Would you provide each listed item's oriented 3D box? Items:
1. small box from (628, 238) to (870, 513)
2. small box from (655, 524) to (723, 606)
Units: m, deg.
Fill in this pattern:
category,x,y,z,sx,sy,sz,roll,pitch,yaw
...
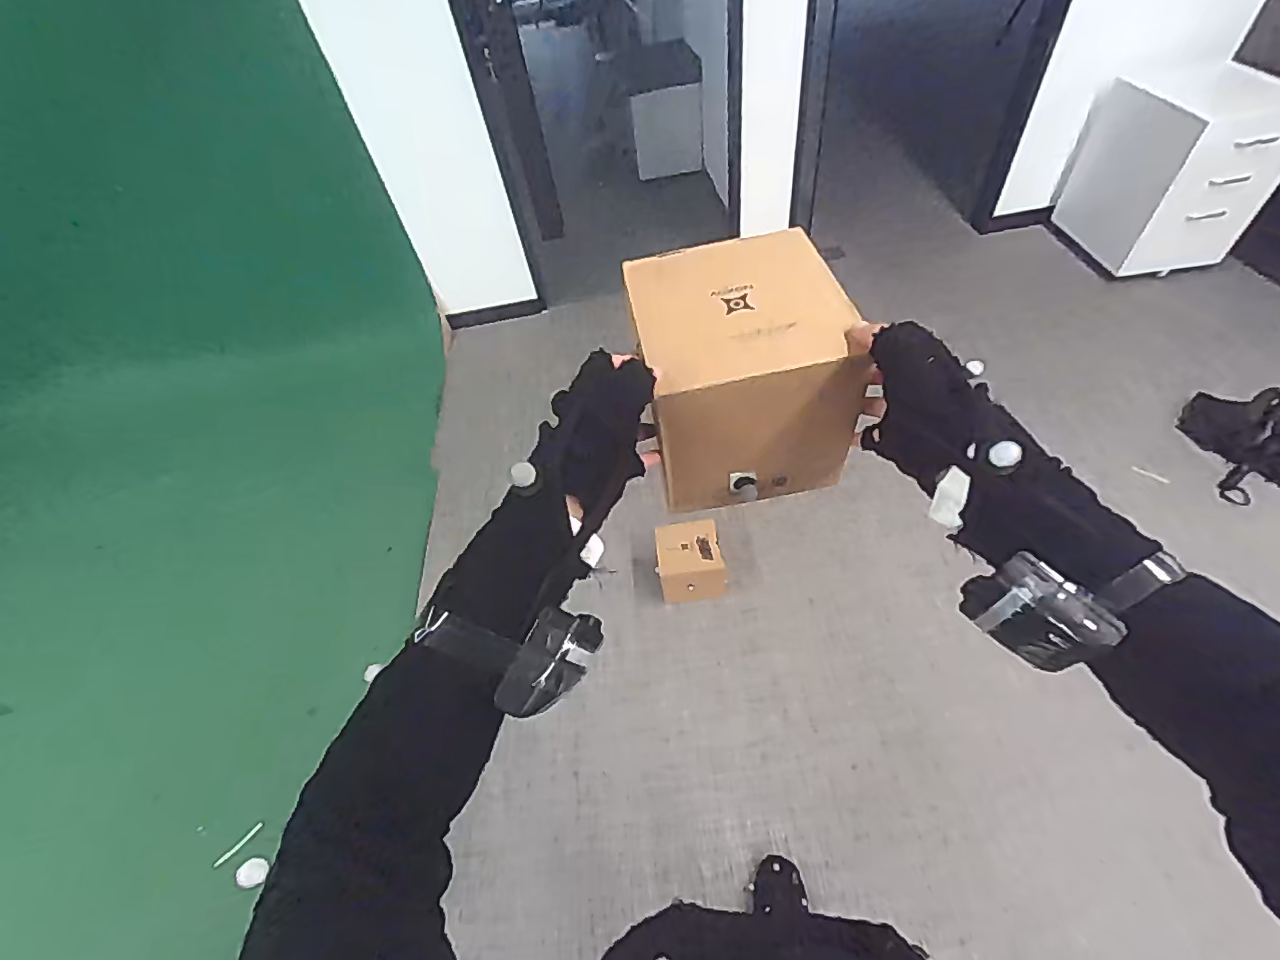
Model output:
category,x,y,z,sx,sy,sz,roll,pitch,yaw
small box,0.087,-0.094,0.511,0.168,0.176,0.179,-11,53,0
small box,0.144,0.251,1.575,0.179,0.176,0.168,-8,49,4
